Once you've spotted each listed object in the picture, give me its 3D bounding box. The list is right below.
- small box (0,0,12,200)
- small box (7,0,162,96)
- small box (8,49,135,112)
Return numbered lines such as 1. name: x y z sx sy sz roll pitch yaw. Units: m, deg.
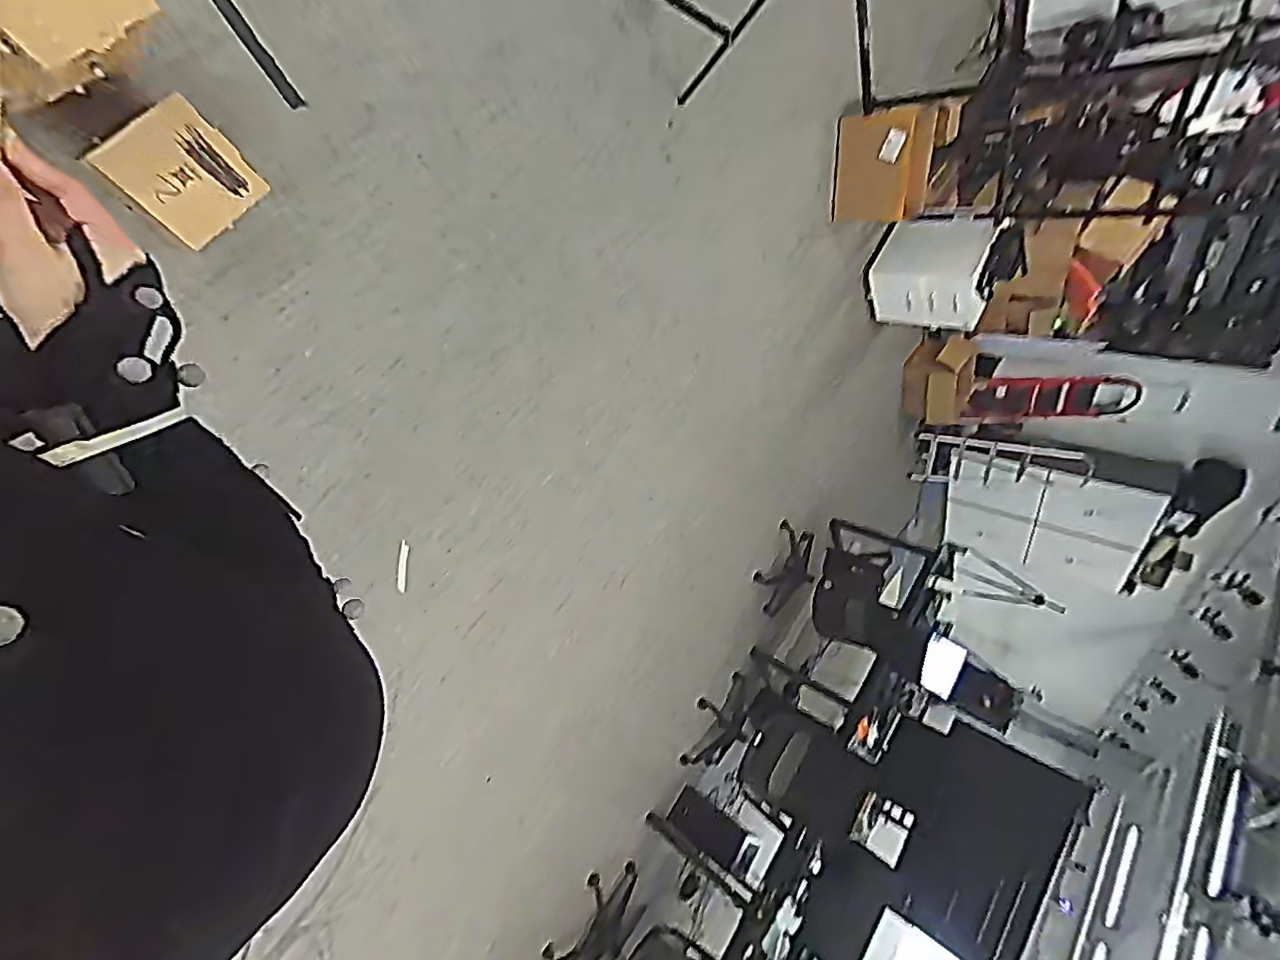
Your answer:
1. small box: -0.461 -0.249 0.268 0.179 0.176 0.168 -3 100 -56
2. small box: -0.763 -0.620 0.670 0.168 0.176 0.179 -55 140 -19
3. small box: -0.886 -0.656 0.770 0.179 0.176 0.168 -50 137 -24
